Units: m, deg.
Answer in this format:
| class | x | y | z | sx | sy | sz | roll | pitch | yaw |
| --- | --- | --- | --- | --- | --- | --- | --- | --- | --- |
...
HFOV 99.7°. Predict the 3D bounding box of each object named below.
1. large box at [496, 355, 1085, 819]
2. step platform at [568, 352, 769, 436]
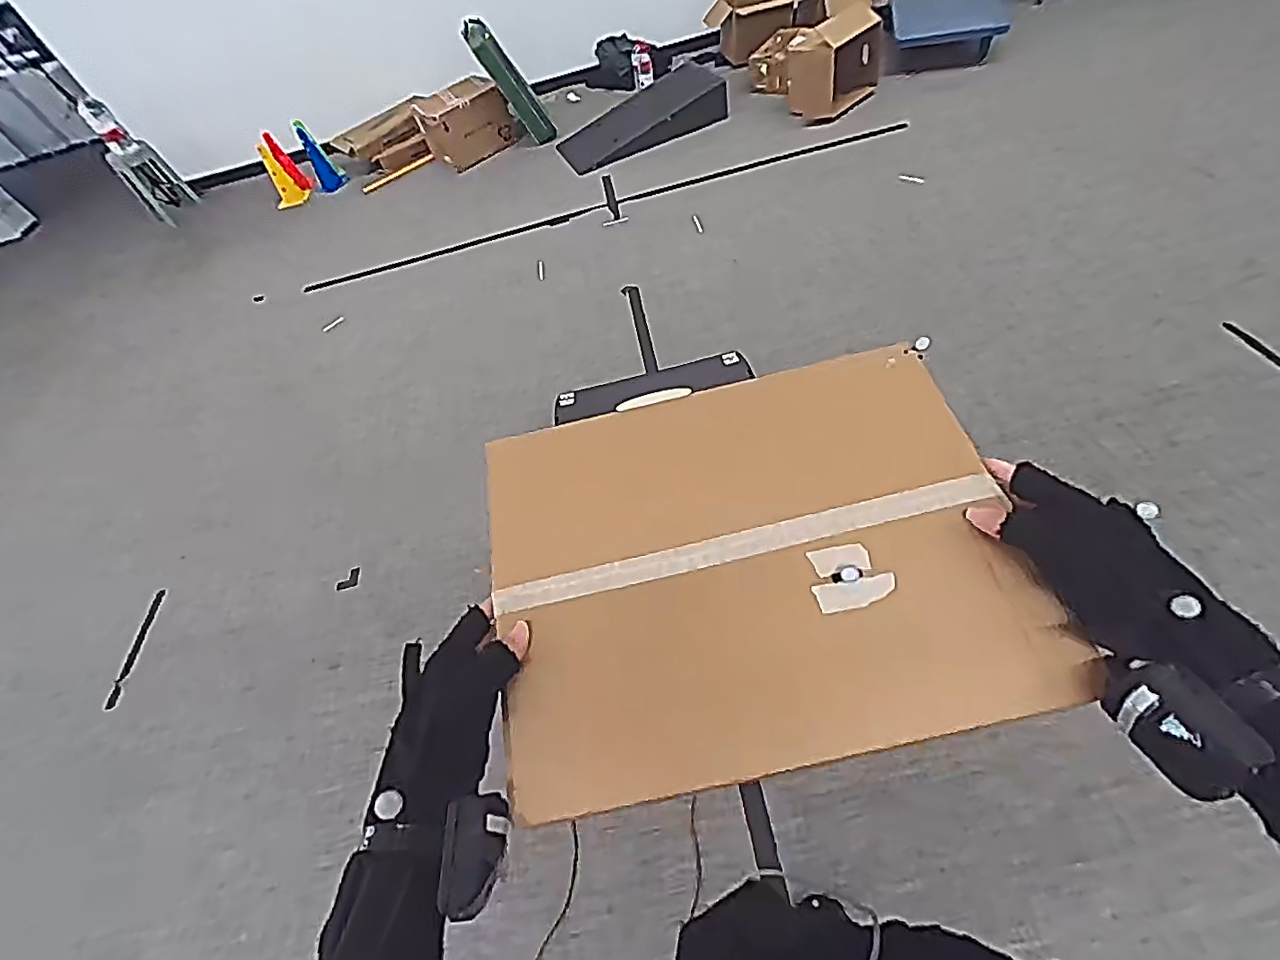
| class | x | y | z | sx | sy | sz | roll | pitch | yaw |
| --- | --- | --- | --- | --- | --- | --- | --- | --- | --- |
| large box | 0.102 | 0.128 | 0.571 | 0.408 | 0.320 | 0.320 | -14 | 61 | 1 |
| step platform | 0.101 | -0.206 | 1.823 | 0.684 | 0.204 | 0.286 | -14 | 53 | 2 |
